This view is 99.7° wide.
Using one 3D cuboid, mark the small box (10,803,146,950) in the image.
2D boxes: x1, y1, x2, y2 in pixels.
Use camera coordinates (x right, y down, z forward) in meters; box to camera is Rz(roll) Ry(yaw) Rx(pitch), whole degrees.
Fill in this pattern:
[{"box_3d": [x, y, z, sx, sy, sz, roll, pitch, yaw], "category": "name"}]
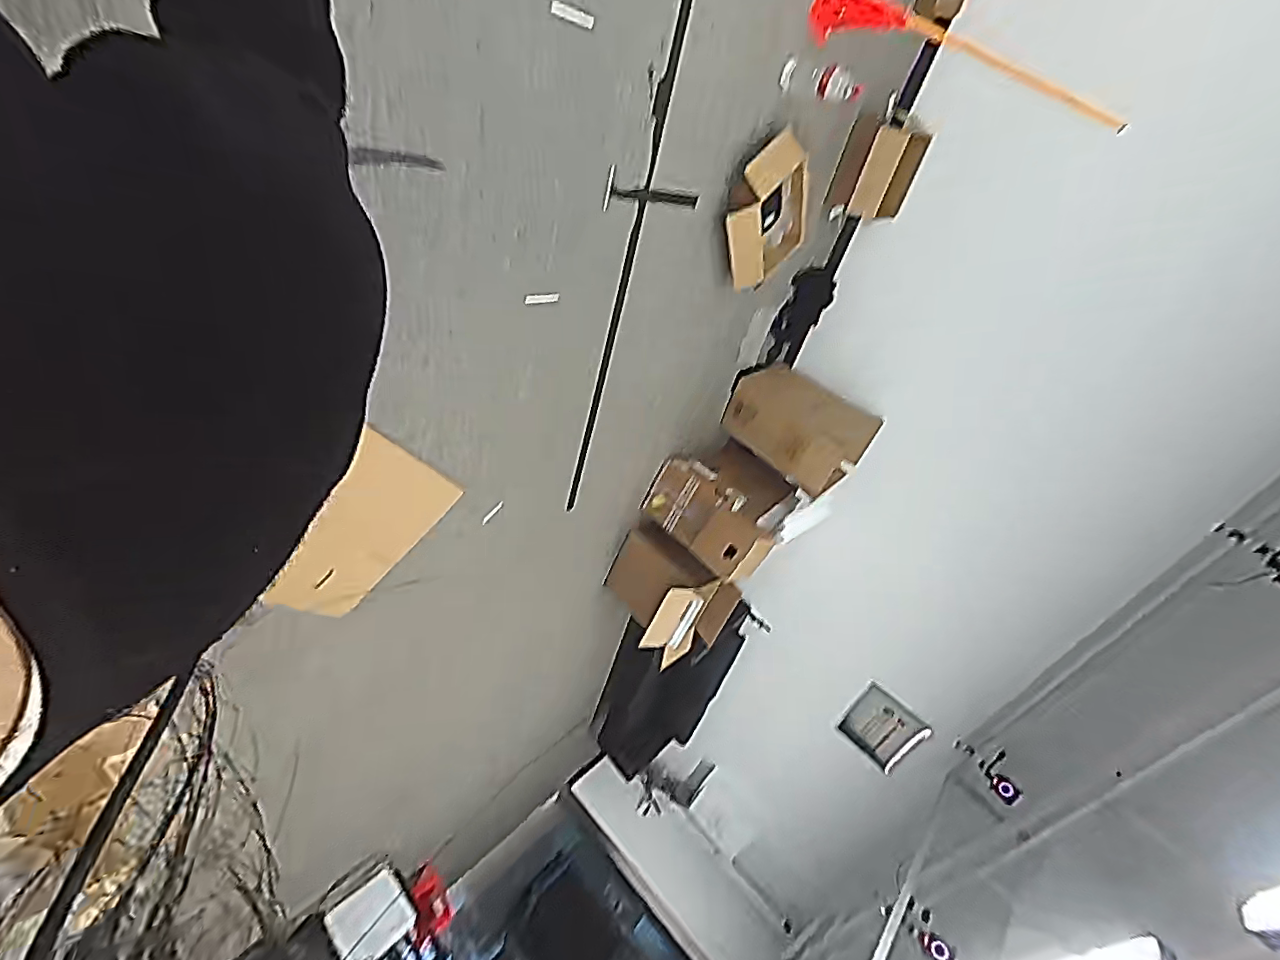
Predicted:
[{"box_3d": [-1.263, 0.883, 1.216, 0.179, 0.176, 0.168, -22, 142, -47], "category": "small box"}]
